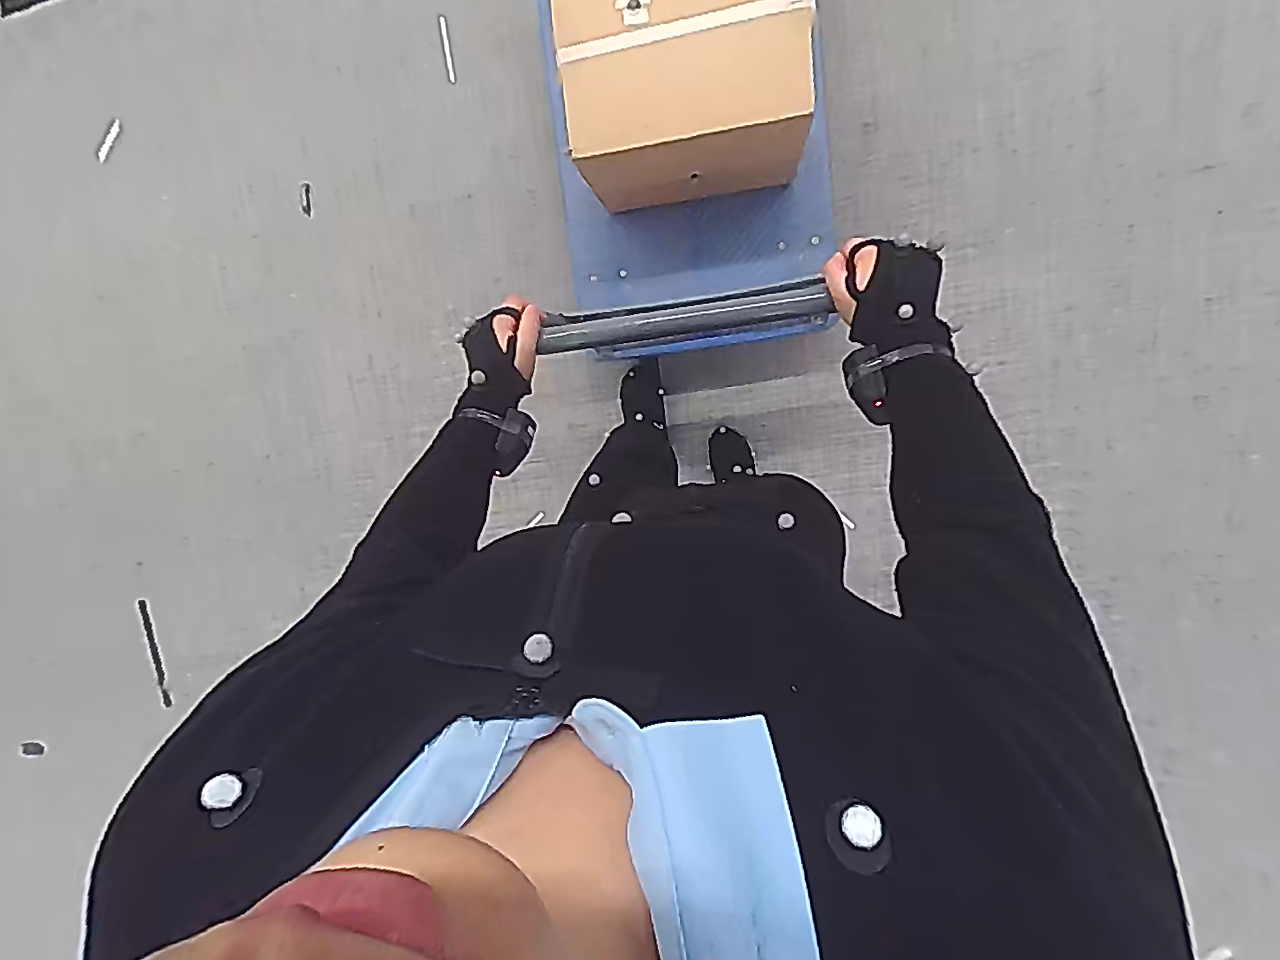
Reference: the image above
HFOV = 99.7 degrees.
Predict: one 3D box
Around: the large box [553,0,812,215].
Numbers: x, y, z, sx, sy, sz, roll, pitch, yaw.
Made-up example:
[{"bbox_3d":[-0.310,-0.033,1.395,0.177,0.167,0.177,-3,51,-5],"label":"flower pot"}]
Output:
[{"bbox_3d":[0.090,-0.739,1.024,0.408,0.320,0.320,-5,98,11],"label":"large box"}]
